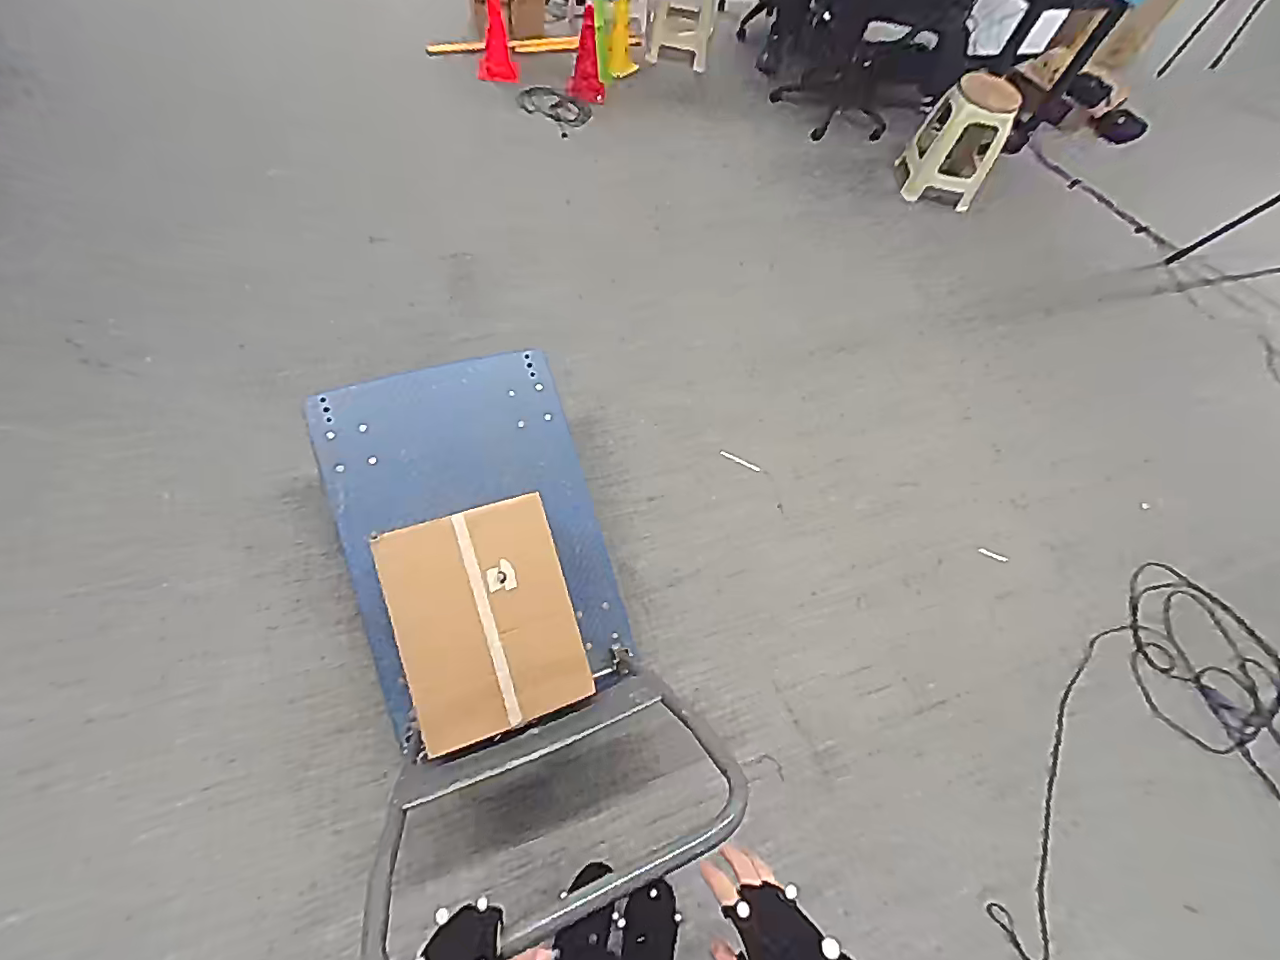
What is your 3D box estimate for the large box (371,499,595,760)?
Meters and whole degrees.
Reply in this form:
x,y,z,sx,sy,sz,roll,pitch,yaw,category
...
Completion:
x,y,z,sx,sy,sz,roll,pitch,yaw,category
-0.321,0.286,1.141,0.320,0.320,0.408,-16,86,-18,large box
